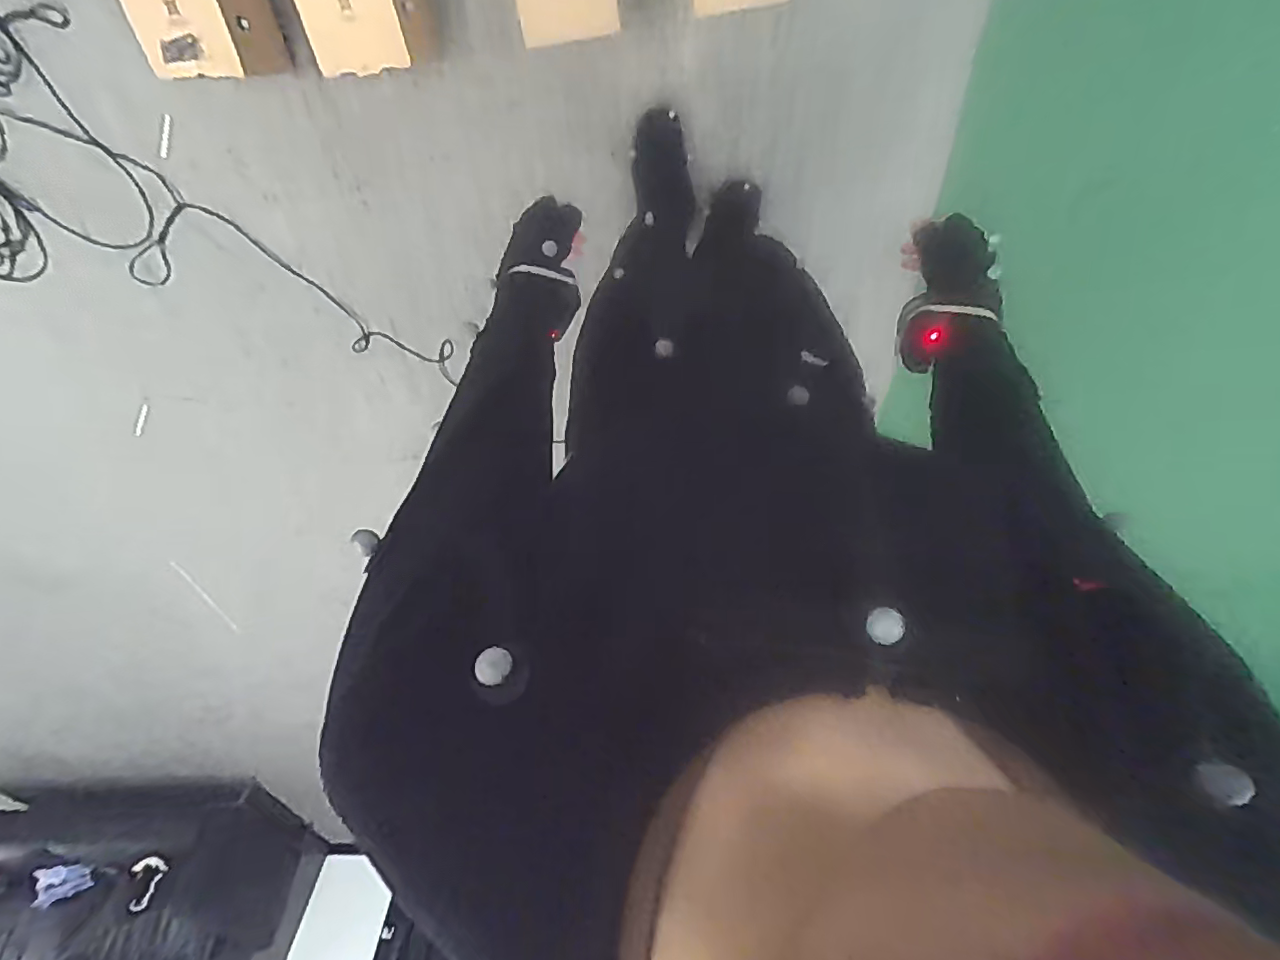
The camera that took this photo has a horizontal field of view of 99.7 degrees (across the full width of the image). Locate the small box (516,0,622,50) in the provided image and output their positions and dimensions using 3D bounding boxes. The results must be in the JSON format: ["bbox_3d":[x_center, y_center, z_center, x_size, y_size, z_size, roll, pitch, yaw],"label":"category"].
[{"bbox_3d":[-0.124,-0.860,0.921,0.168,0.176,0.179,-5,130,5],"label":"small box"}]

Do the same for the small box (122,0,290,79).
[{"bbox_3d":[-0.772,-0.831,0.964,0.168,0.176,0.179,0,129,1],"label":"small box"}]

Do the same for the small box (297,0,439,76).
[{"bbox_3d":[-0.482,-0.835,0.954,0.168,0.176,0.179,-4,131,5],"label":"small box"}]
